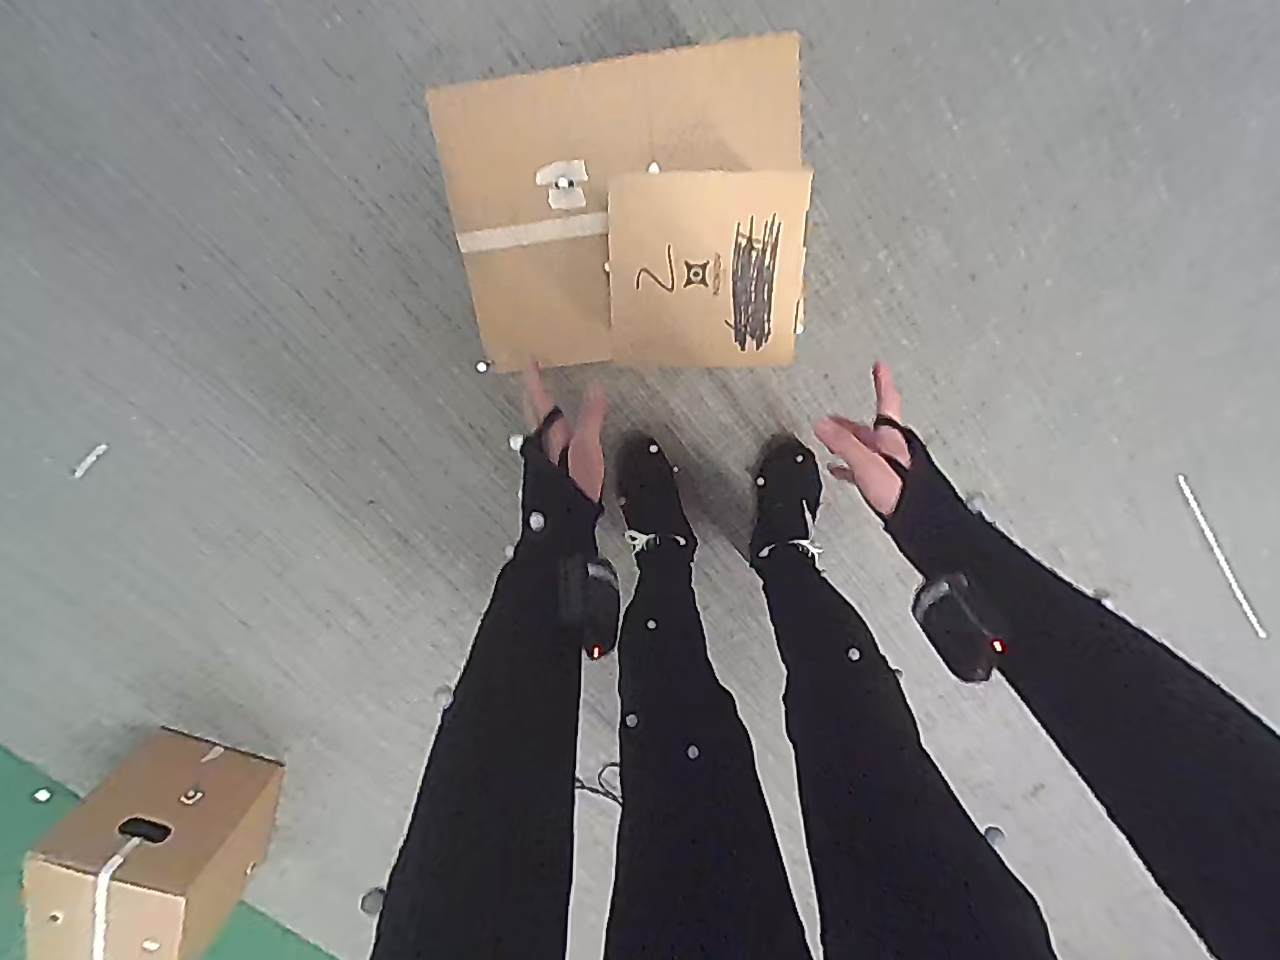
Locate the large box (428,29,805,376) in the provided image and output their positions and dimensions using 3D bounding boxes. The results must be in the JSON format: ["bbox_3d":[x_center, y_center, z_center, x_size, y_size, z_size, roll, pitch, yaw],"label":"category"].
[{"bbox_3d":[-0.009,-0.352,0.758,0.408,0.320,0.320,-6,110,5],"label":"large box"}]
